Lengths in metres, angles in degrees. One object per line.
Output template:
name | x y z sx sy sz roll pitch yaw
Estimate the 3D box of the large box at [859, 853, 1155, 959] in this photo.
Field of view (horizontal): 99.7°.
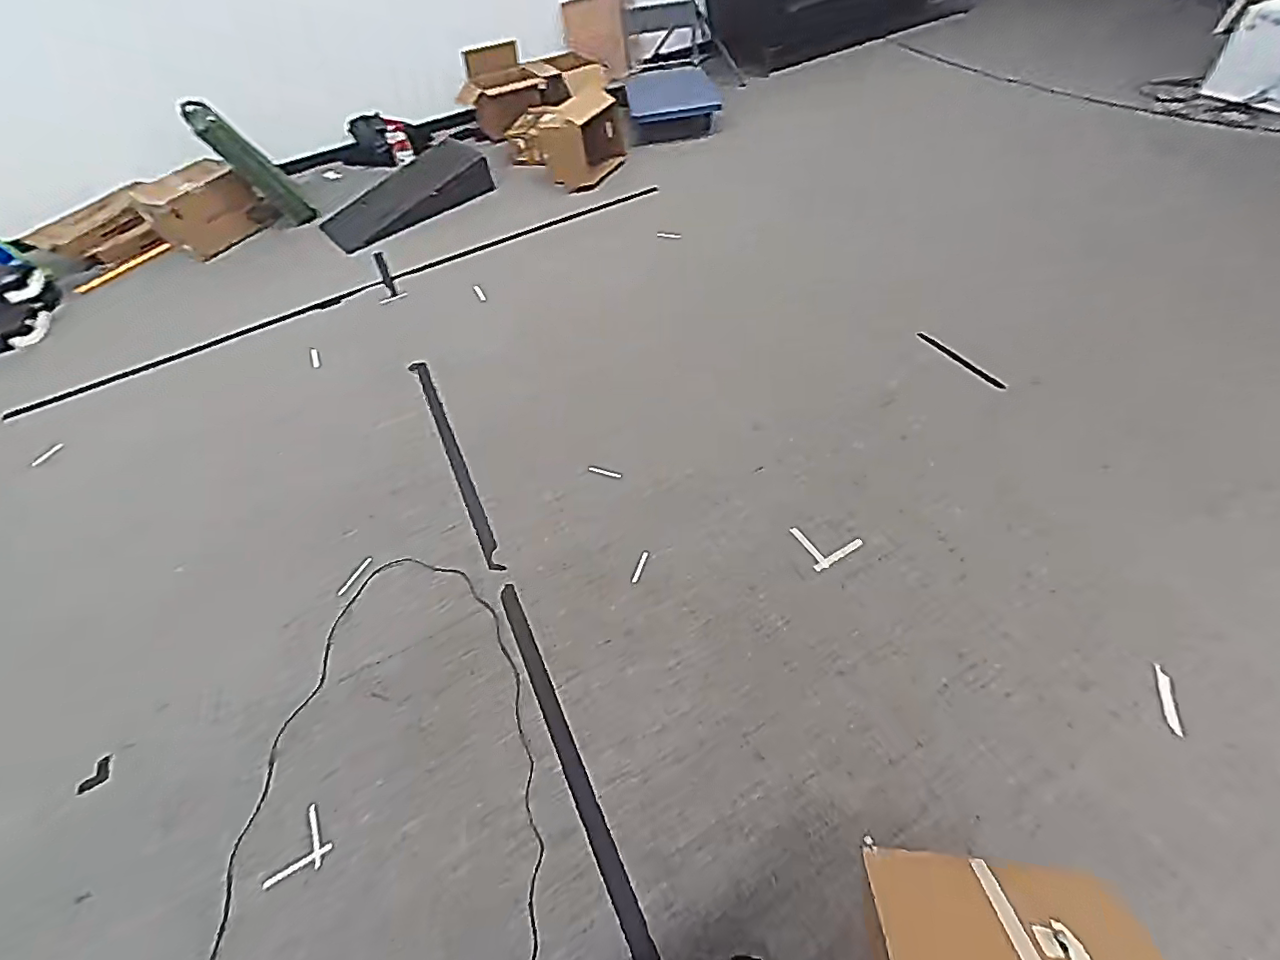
large box | 0.450 0.720 0.603 0.320 0.408 0.320 0 91 12
